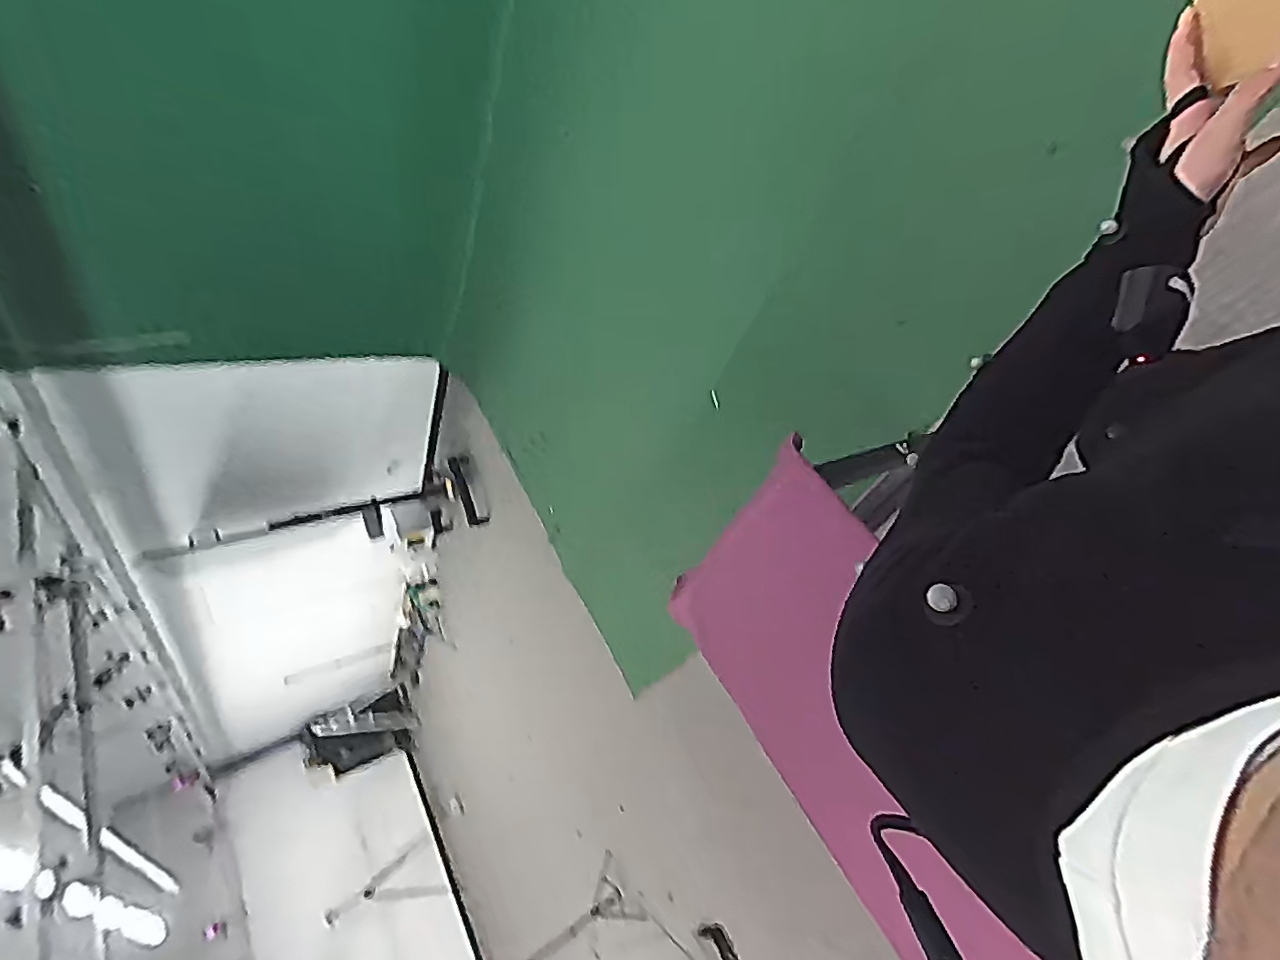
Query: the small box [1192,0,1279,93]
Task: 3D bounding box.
[{"bbox_3d":[0.543,-0.431,0.407,0.168,0.176,0.179,-1,112,52],"label":"small box"}]
